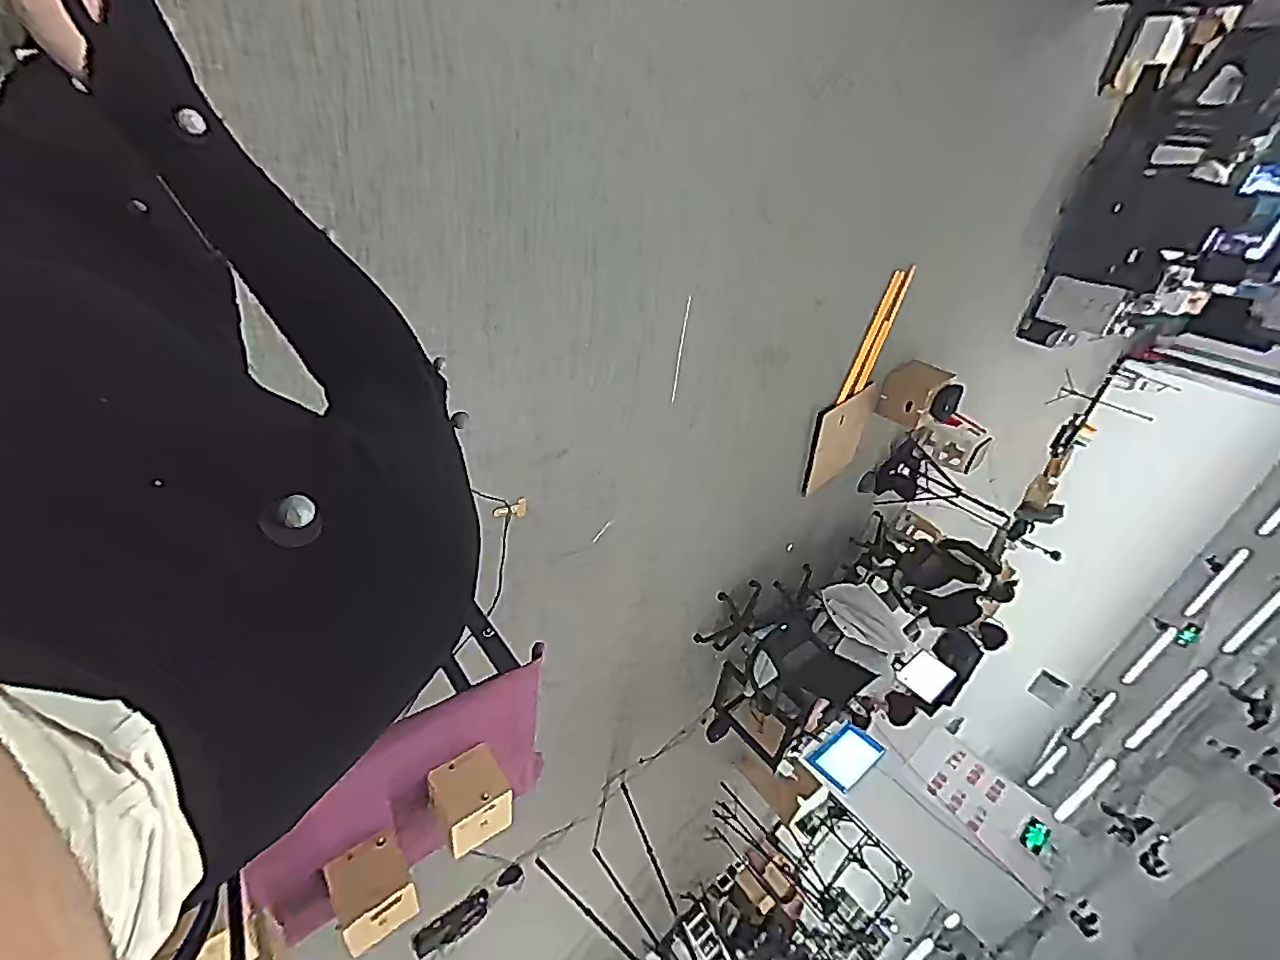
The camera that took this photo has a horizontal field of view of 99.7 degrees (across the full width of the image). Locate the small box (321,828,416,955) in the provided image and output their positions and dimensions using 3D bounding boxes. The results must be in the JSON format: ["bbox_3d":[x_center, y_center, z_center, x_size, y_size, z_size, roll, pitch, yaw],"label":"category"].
[{"bbox_3d":[-0.693,1.037,1.379,0.168,0.176,0.179,-19,132,-36],"label":"small box"}]

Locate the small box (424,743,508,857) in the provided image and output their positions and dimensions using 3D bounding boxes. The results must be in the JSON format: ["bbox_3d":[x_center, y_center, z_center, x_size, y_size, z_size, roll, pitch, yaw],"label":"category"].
[{"bbox_3d":[-0.473,0.860,1.468,0.168,0.176,0.179,-17,130,-37],"label":"small box"}]

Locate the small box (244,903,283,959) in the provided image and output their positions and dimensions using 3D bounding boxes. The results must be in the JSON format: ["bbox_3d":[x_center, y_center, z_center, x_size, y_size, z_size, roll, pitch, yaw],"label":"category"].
[{"bbox_3d":[-0.911,1.106,1.210,0.168,0.176,0.179,-20,131,-36],"label":"small box"}]

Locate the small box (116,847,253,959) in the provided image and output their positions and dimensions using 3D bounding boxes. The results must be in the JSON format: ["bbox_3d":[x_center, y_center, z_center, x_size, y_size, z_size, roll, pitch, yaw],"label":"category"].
[{"bbox_3d":[-0.880,0.865,1.049,0.168,0.176,0.179,-17,131,-38],"label":"small box"}]
